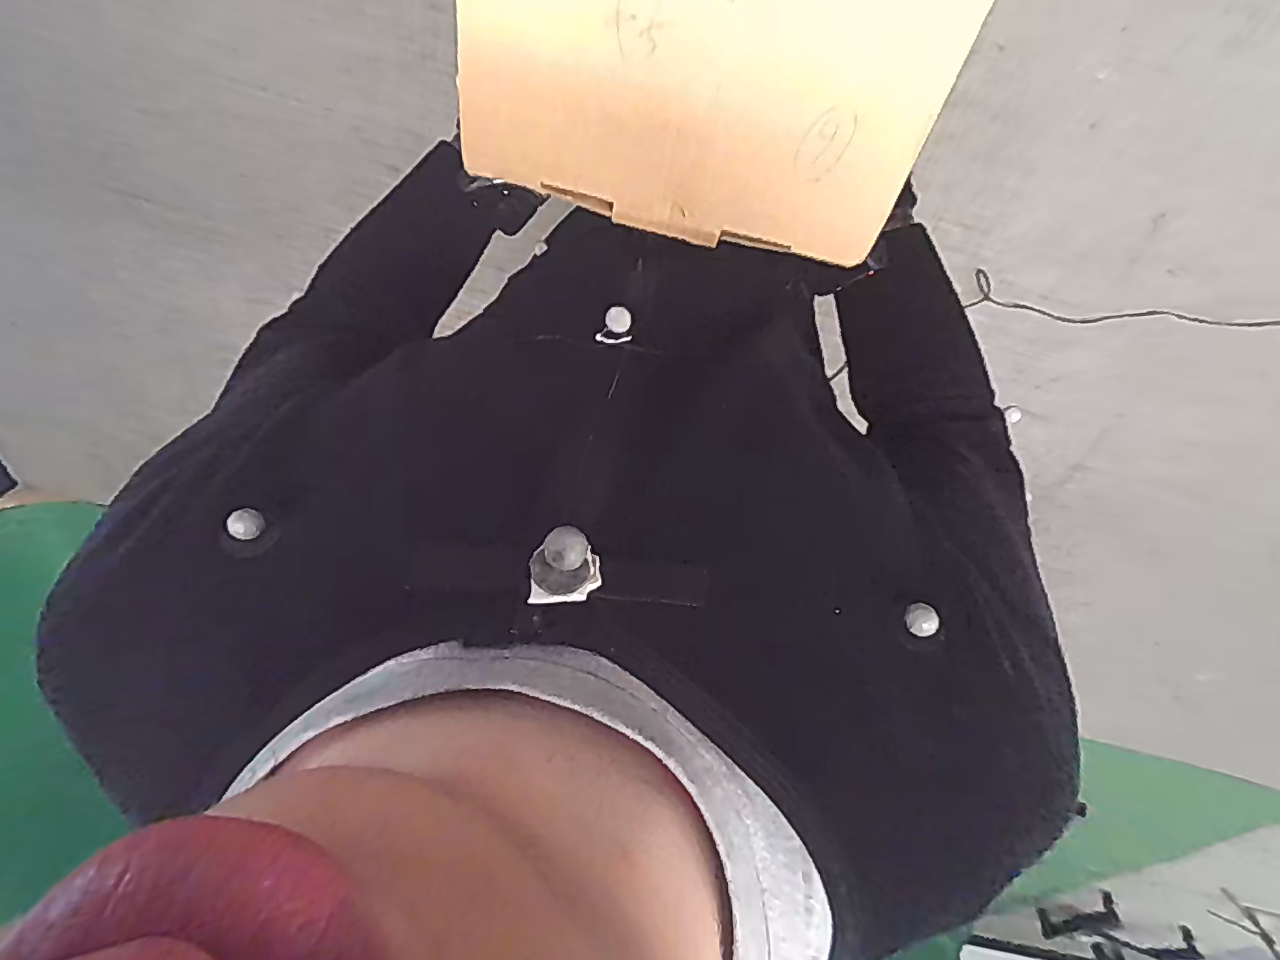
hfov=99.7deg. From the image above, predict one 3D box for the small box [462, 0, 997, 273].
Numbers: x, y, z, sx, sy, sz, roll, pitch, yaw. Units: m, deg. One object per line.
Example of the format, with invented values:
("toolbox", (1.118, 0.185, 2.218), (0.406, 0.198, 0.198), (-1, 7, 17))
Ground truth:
("small box", (0.037, -0.217, 0.216), (0.168, 0.176, 0.179), (12, 134, -3))
